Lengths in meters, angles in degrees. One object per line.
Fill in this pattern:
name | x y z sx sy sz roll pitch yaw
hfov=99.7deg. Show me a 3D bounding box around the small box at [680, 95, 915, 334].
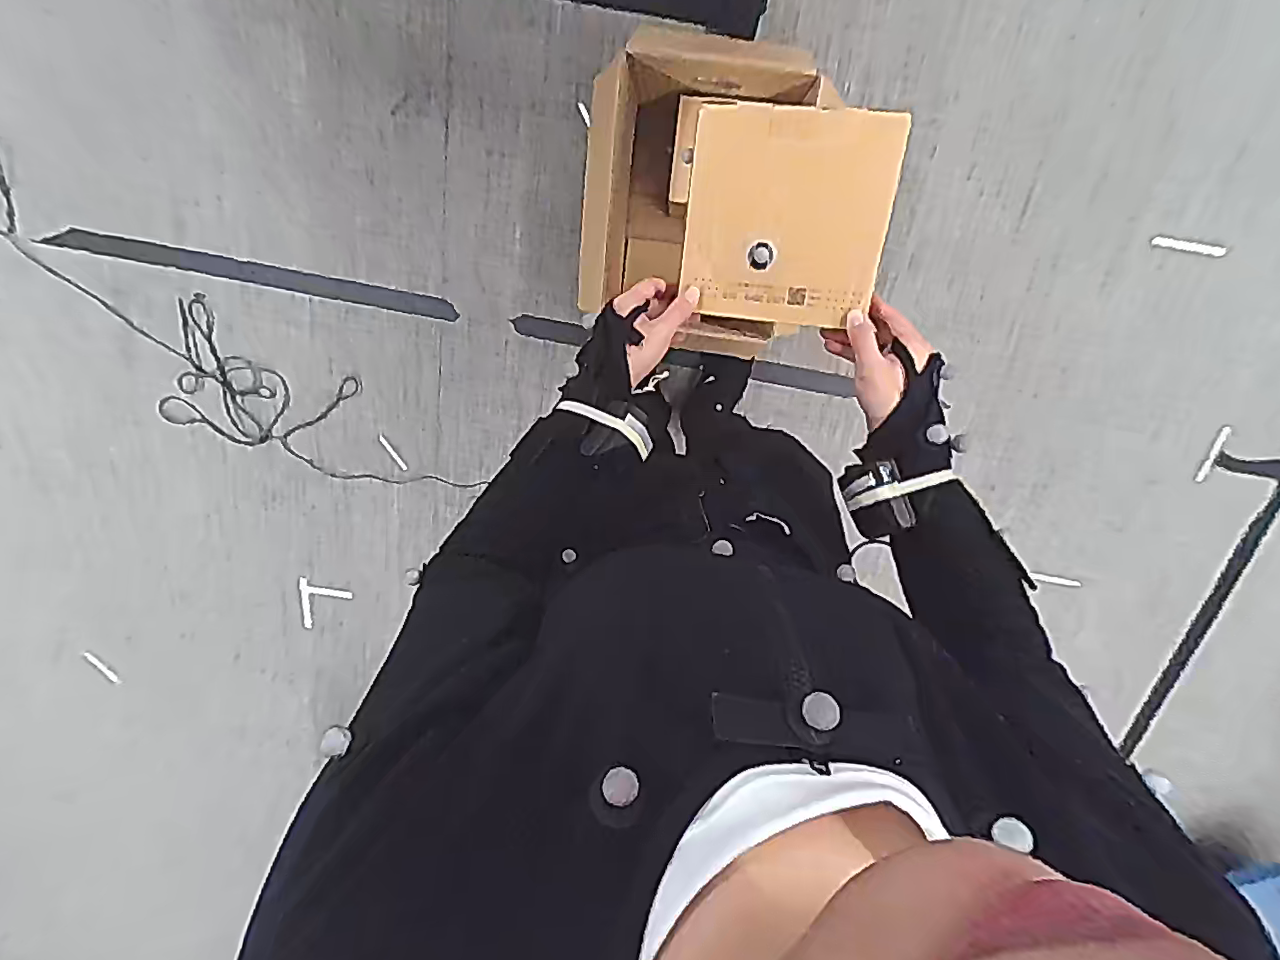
small box | 0.136 -0.239 0.521 0.168 0.179 0.176 9 109 9
